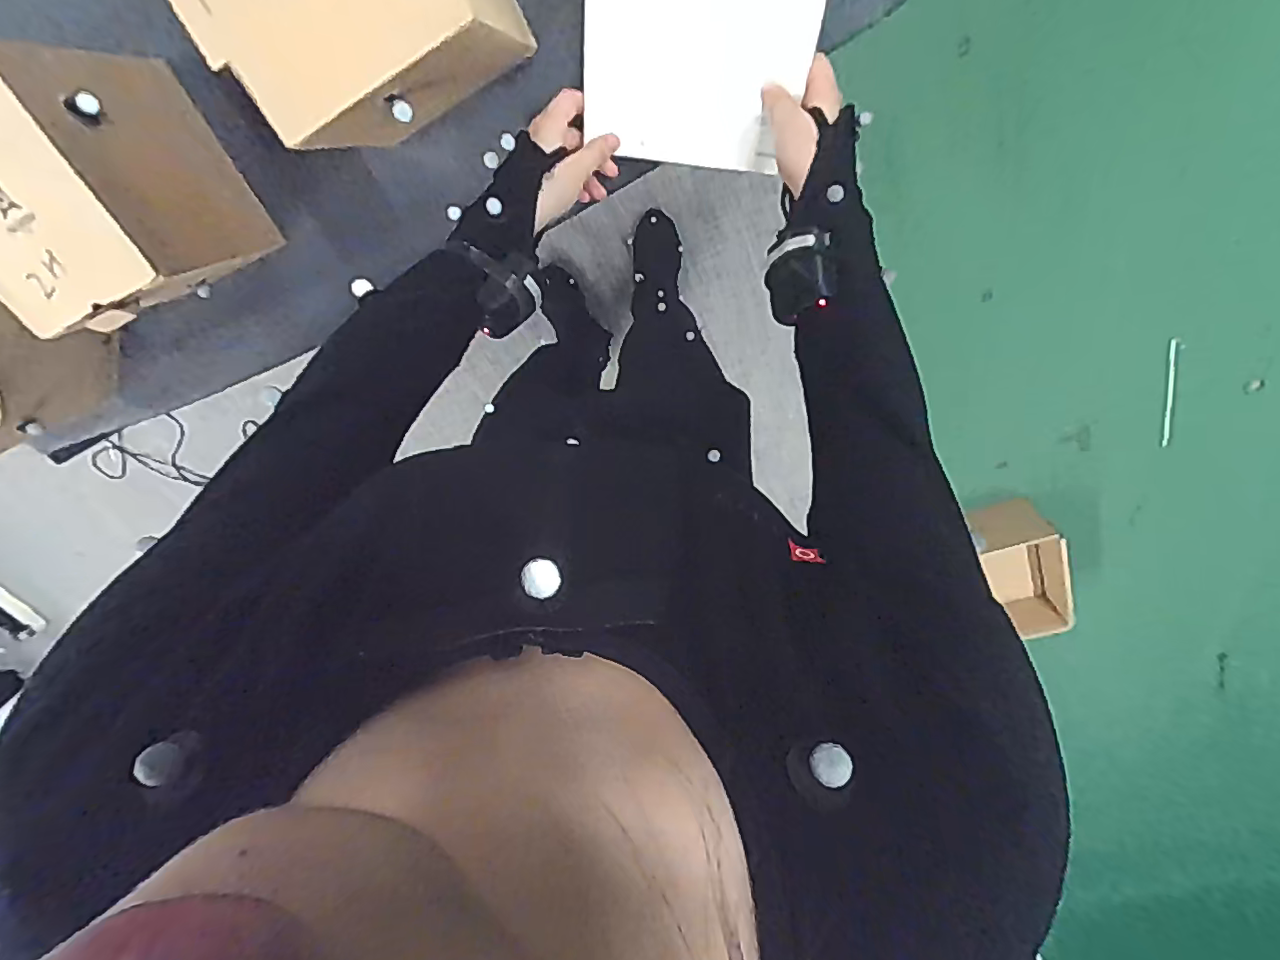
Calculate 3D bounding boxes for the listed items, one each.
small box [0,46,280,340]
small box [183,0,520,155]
[{"bbox_3d":[-0.503,-0.262,0.509,0.168,0.176,0.179,-15,121,16],"label":"small box"},{"bbox_3d":[-0.209,-0.375,0.405,0.179,0.176,0.168,-19,119,18],"label":"small box"}]
